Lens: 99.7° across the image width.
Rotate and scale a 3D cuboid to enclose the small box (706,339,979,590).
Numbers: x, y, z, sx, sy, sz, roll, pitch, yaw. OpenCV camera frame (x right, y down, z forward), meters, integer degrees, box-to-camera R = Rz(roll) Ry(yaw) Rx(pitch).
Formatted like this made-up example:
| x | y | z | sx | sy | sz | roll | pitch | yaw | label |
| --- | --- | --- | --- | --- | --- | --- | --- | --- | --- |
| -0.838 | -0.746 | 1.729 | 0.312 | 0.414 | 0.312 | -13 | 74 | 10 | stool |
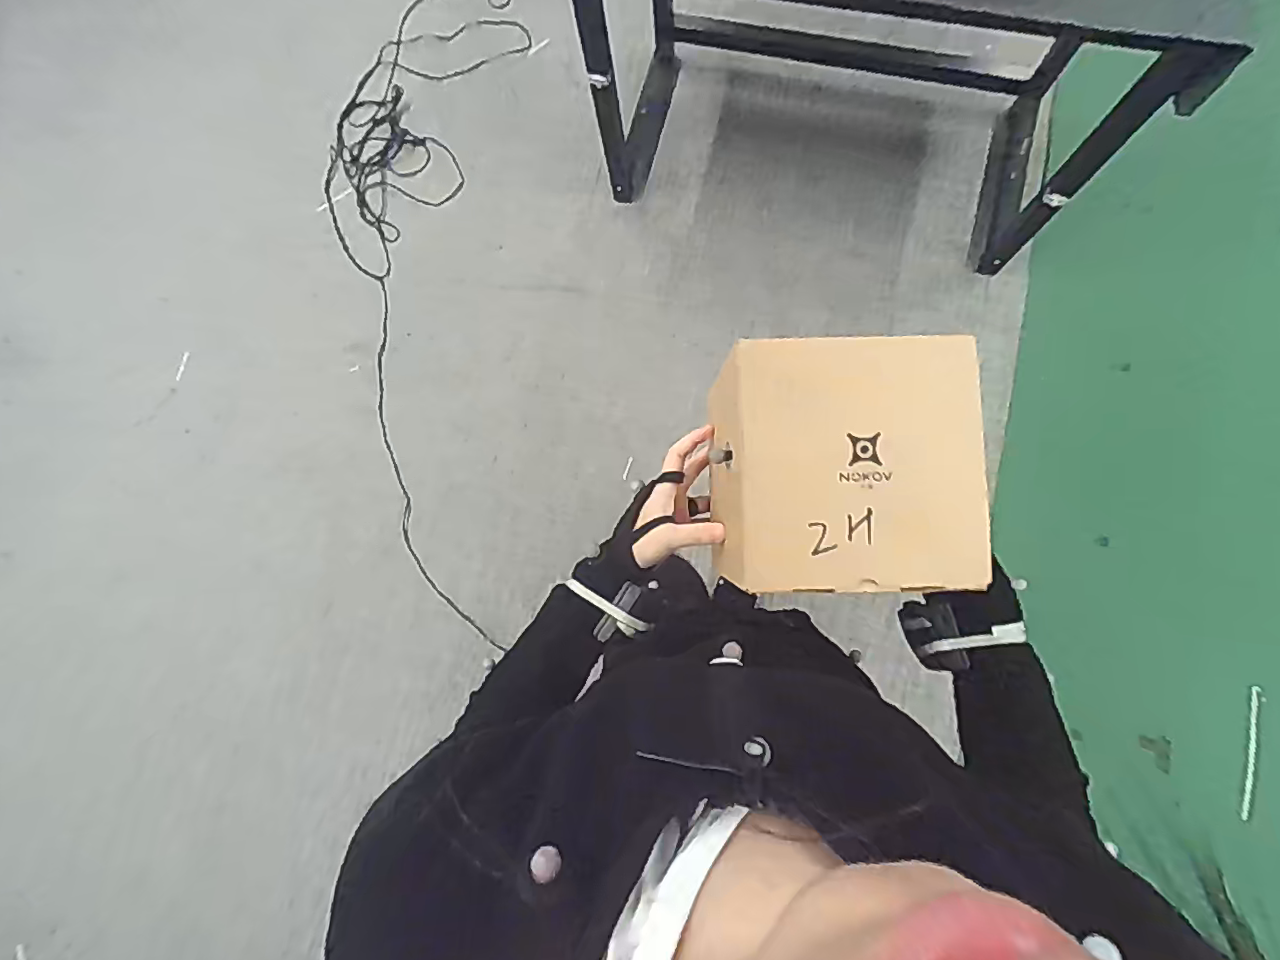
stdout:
| x | y | z | sx | sy | sz | roll | pitch | yaw | label |
| --- | --- | --- | --- | --- | --- | --- | --- | --- | --- |
| 0.148 | -0.006 | 0.455 | 0.168 | 0.176 | 0.179 | -2 | 86 | 0 | small box |
